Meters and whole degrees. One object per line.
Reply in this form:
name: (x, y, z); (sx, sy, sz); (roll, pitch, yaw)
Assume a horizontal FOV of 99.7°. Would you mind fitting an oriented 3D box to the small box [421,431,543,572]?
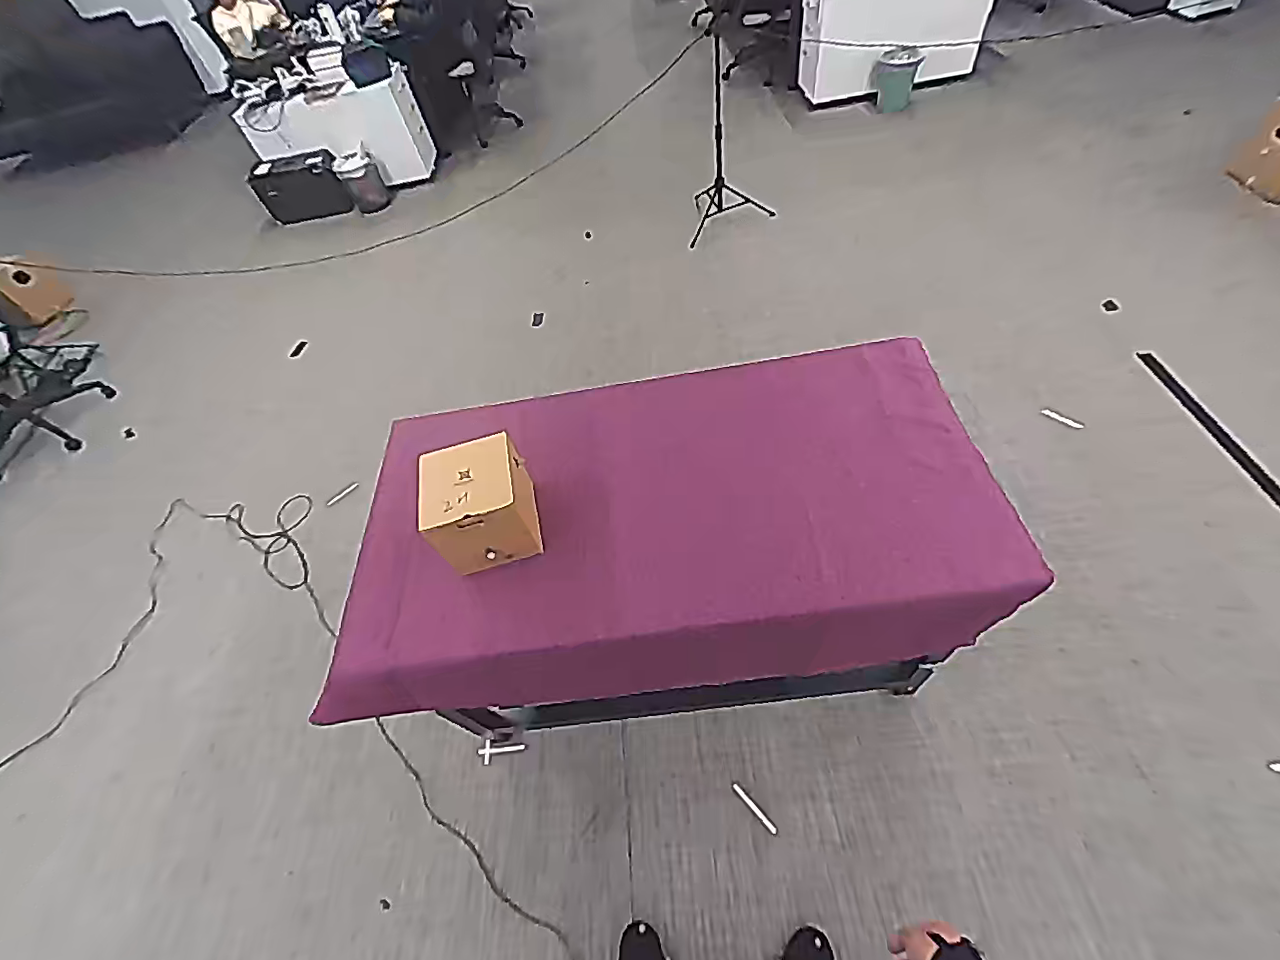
small box: (-0.287, 0.043, 1.001); (0.168, 0.176, 0.179); (-16, 53, -1)
